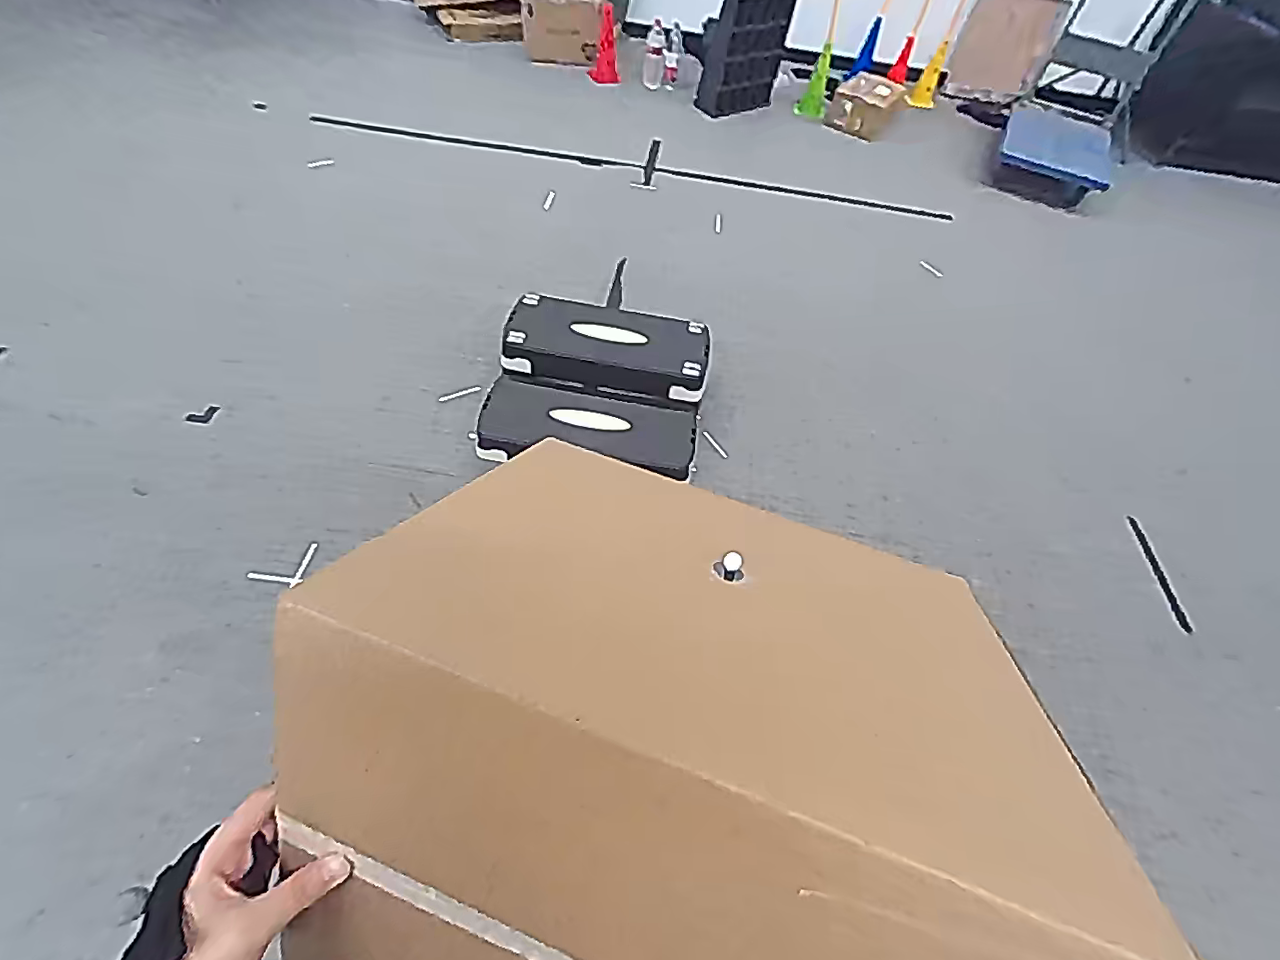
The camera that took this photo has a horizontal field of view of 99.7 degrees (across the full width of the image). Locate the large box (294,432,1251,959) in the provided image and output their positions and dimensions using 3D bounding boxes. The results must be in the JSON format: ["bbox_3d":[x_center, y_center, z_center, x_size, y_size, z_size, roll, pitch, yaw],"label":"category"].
[{"bbox_3d":[0.031,0.187,0.410,0.408,0.320,0.320,18,23,8],"label":"large box"}]

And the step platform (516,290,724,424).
[{"bbox_3d":[-0.064,-0.422,1.824,0.684,0.204,0.286,15,54,3],"label":"step platform"}]
